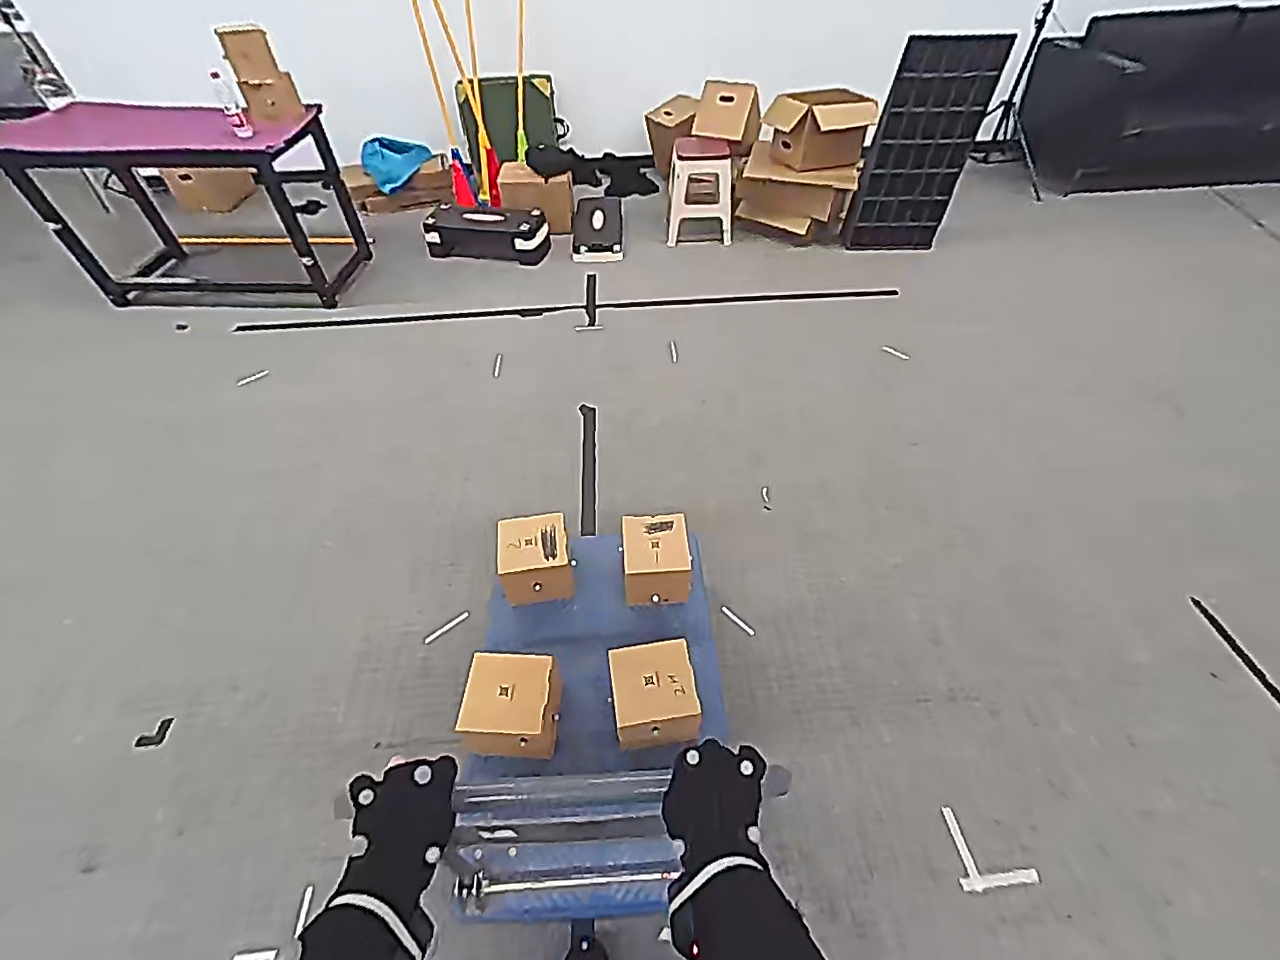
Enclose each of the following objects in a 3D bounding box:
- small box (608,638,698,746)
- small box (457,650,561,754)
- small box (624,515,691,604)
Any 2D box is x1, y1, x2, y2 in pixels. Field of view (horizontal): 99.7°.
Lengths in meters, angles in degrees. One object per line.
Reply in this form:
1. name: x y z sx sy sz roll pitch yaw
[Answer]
1. small box: 0.027 0.476 1.206 0.179 0.176 0.168 -7 49 -5
2. small box: -0.279 0.493 1.198 0.179 0.176 0.168 3 48 1
3. small box: 0.042 0.212 1.440 0.168 0.176 0.179 -3 49 -1
